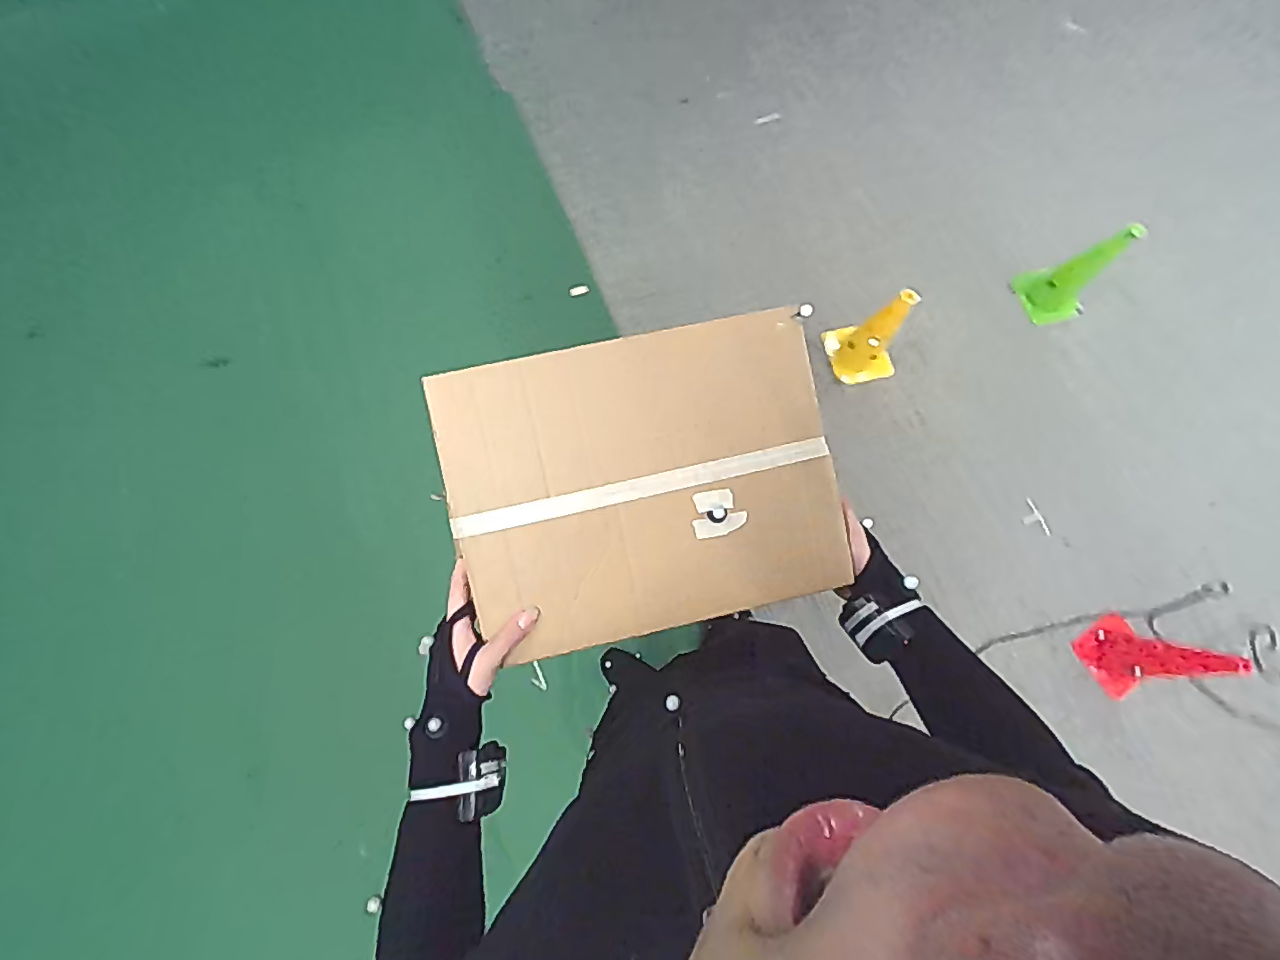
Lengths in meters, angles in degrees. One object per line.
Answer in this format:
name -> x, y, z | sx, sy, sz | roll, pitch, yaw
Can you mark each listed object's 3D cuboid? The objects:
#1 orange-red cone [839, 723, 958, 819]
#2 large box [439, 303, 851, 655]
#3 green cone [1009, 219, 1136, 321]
orange-red cone -> 0.687, 0.777, 1.374 | 0.198, 0.360, 0.199 | -16, 79, -5
large box -> -0.001, -0.005, 0.728 | 0.408, 0.320, 0.320 | -12, 92, -5
green cone -> 1.447, -0.718, 1.769 | 0.202, 0.368, 0.200 | -17, 77, -5
